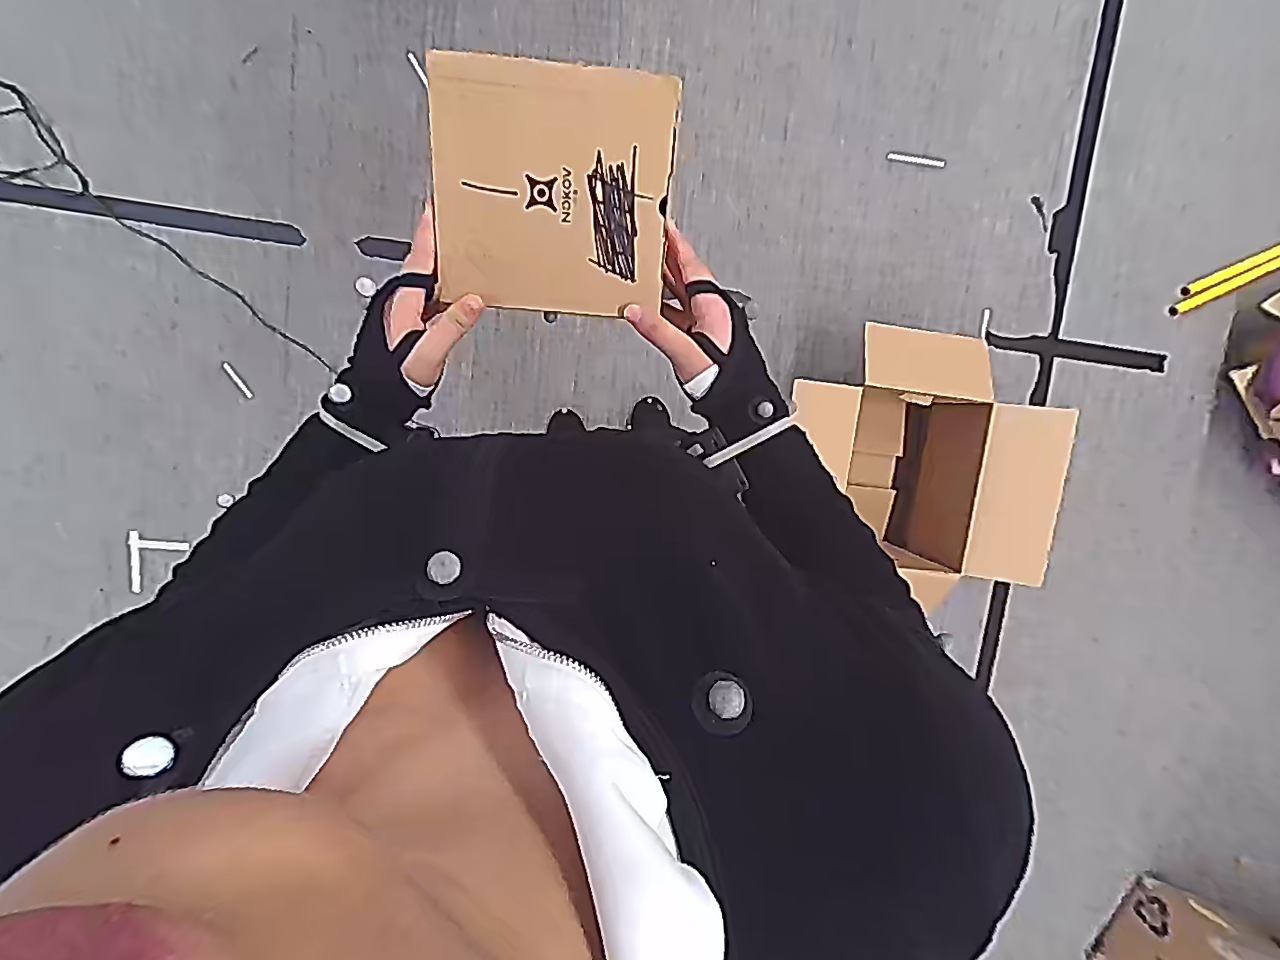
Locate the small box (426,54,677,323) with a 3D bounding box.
[{"bbox_3d":[-0.069,-0.238,0.475,0.179,0.176,0.168,4,111,-3],"label":"small box"}]
